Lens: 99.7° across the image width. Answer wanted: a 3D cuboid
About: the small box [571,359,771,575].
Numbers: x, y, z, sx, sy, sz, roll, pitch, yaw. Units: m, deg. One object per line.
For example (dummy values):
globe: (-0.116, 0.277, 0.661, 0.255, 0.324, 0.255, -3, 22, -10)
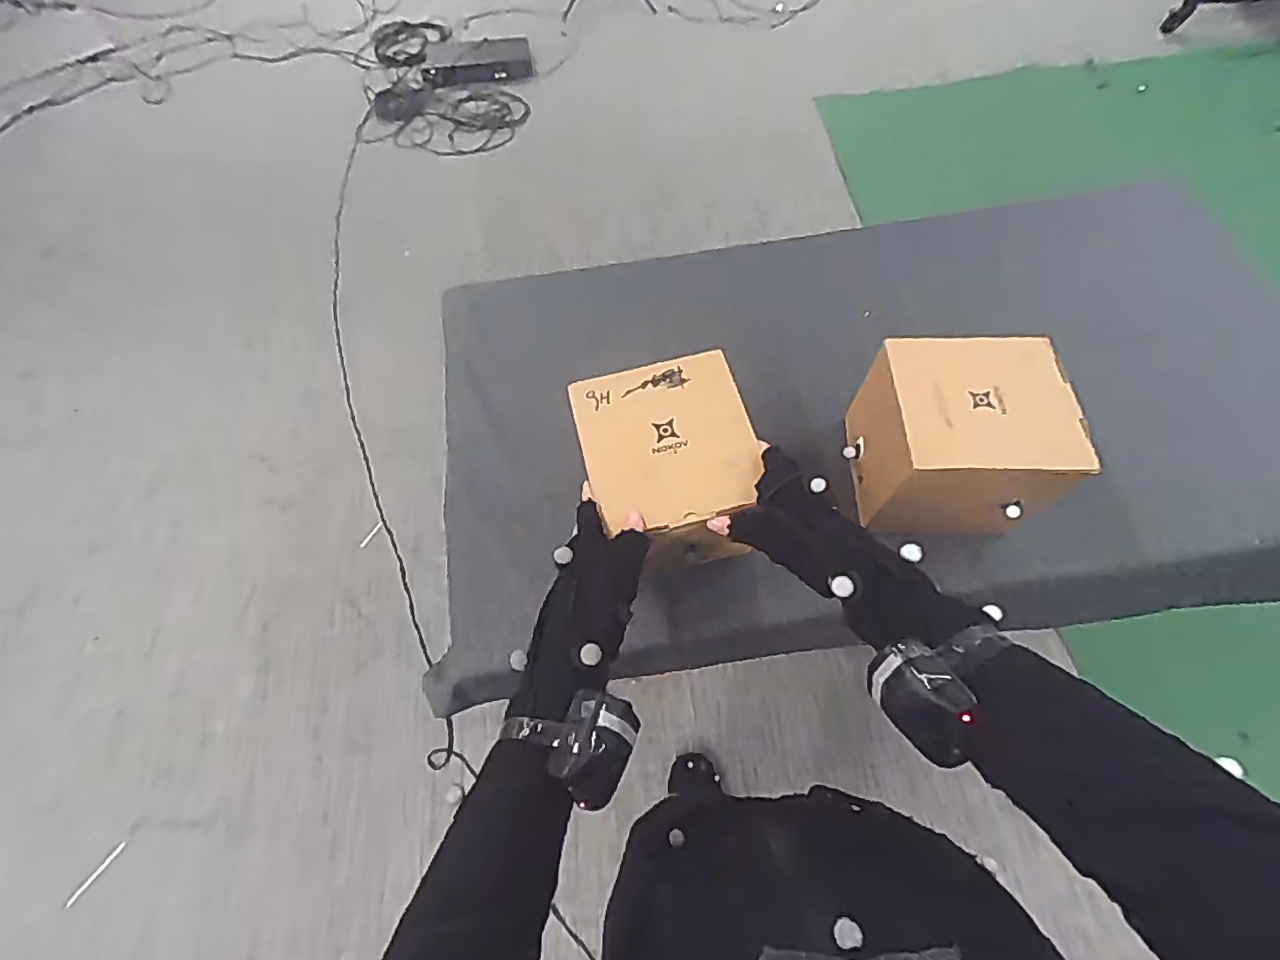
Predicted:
small box: (0.029, -0.002, 0.601, 0.168, 0.176, 0.179, -13, 68, -4)
